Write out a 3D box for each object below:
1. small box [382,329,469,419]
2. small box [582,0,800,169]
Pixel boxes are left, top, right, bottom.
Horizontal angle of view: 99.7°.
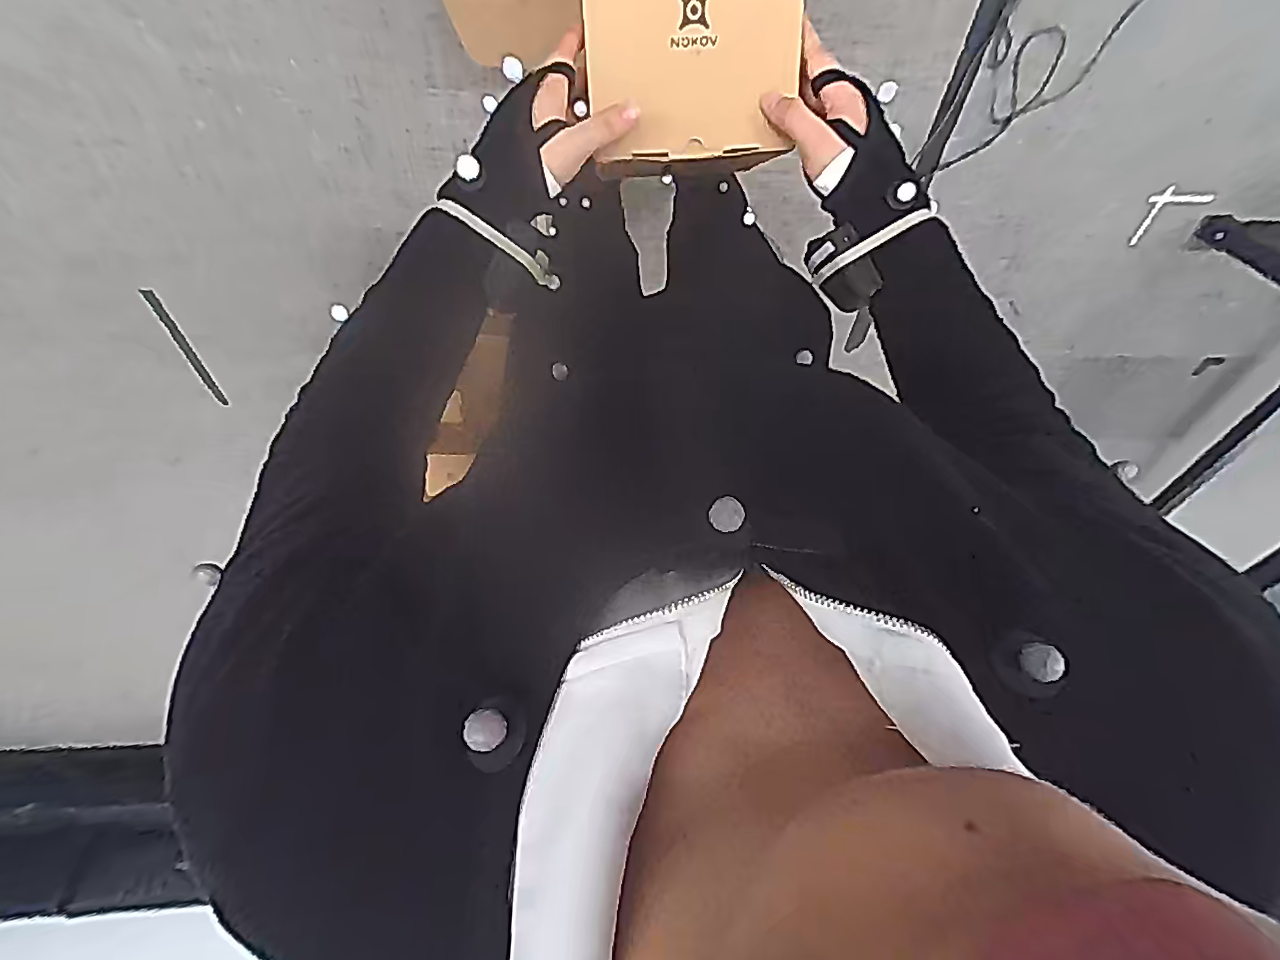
[{"bbox_3d":[-0.545,-0.277,1.405,0.179,0.176,0.168,1,138,-7],"label":"small box"},{"bbox_3d":[0.034,-0.386,0.474,0.168,0.176,0.179,-4,115,-1],"label":"small box"}]
